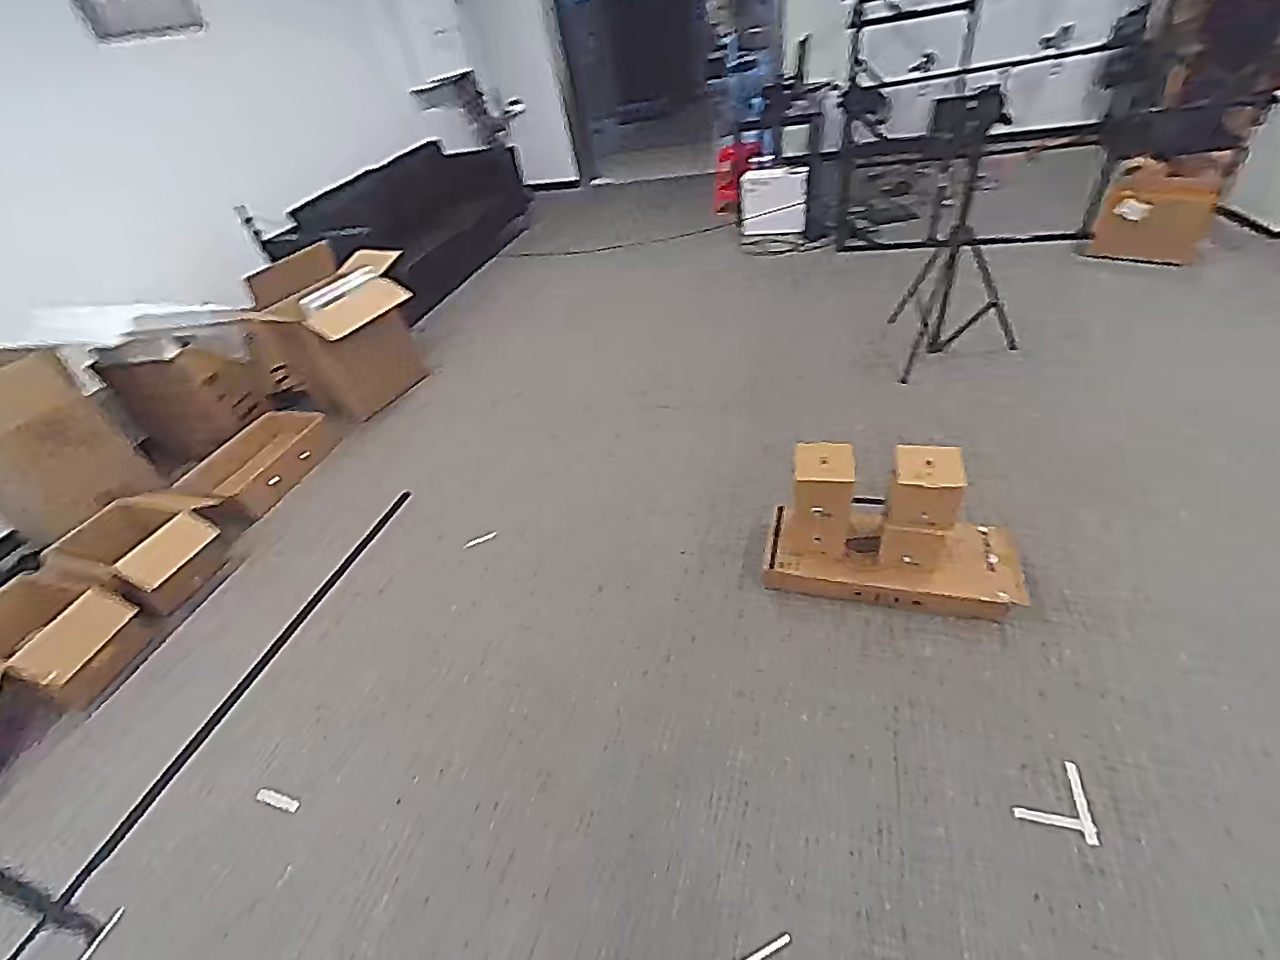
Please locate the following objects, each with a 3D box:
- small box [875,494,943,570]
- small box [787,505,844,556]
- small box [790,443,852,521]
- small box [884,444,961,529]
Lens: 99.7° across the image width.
[{"bbox_3d":[0.826,0.148,1.668,0.168,0.176,0.179,7,45,22],"label":"small box"},{"bbox_3d":[0.572,0.126,1.753,0.168,0.176,0.179,6,45,18],"label":"small box"},{"bbox_3d":[0.544,0.004,1.645,0.168,0.176,0.179,0,43,15],"label":"small box"},{"bbox_3d":[0.810,0.017,1.567,0.168,0.176,0.179,4,43,18],"label":"small box"}]
